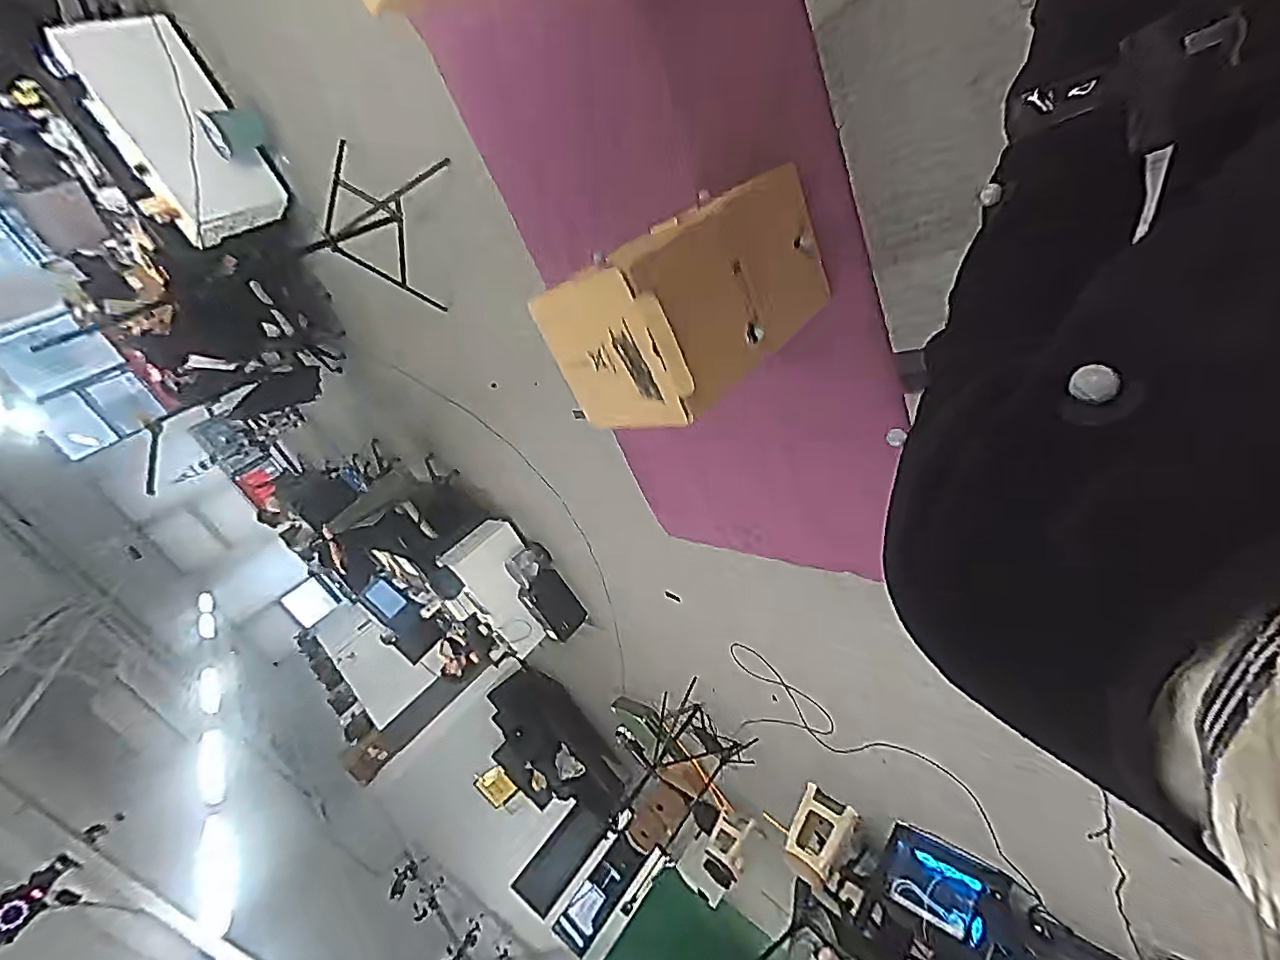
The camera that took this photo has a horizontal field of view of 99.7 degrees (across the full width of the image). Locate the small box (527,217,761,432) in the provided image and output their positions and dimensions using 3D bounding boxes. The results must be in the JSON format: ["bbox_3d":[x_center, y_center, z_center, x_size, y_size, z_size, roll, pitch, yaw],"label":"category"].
[{"bbox_3d":[0.014,-0.168,0.607,0.179,0.176,0.168,5,130,49],"label":"small box"}]

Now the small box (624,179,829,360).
[{"bbox_3d":[0.116,-0.262,0.698,0.168,0.176,0.179,4,128,49],"label":"small box"}]
